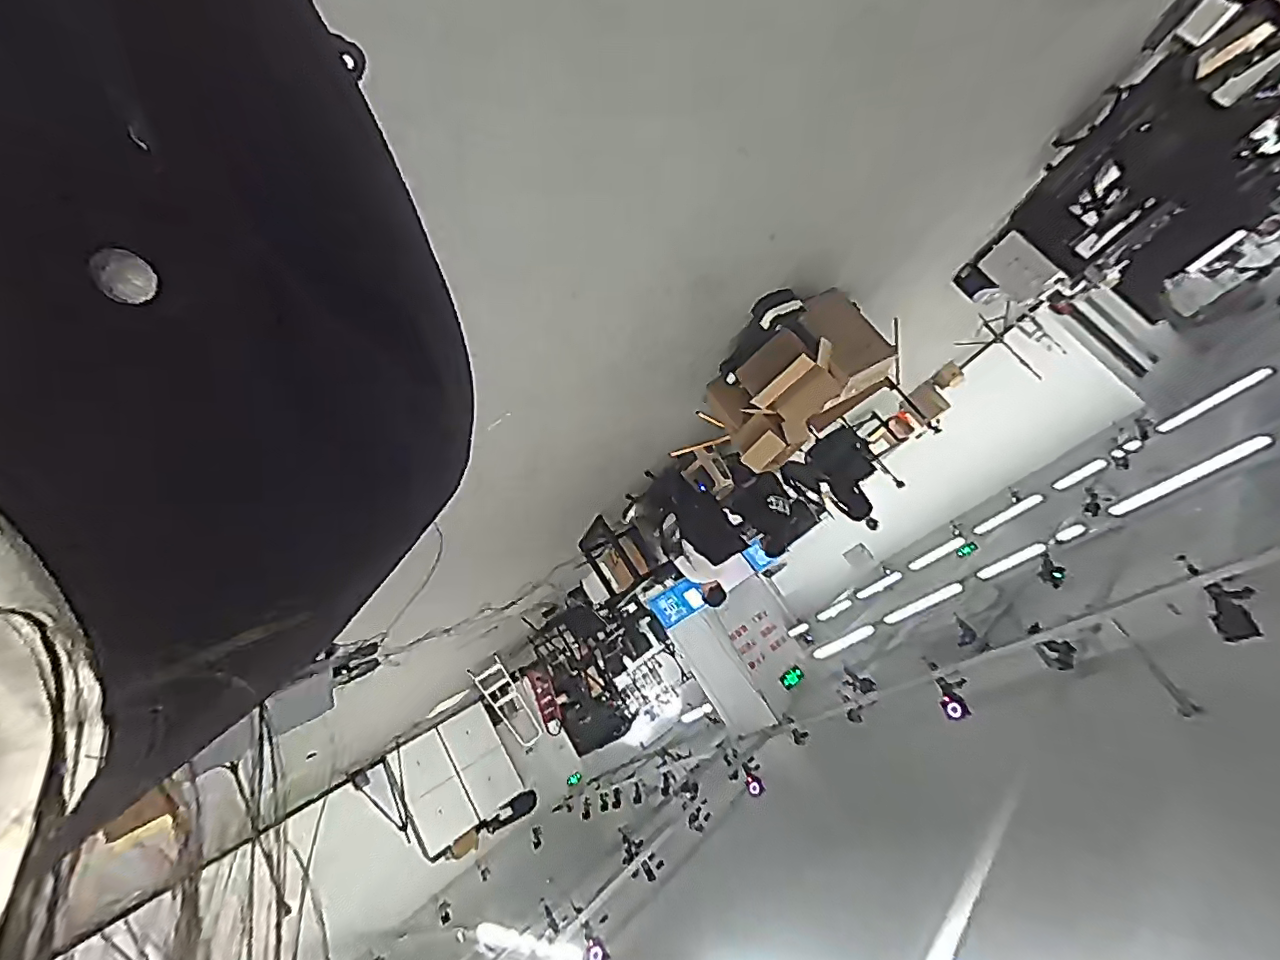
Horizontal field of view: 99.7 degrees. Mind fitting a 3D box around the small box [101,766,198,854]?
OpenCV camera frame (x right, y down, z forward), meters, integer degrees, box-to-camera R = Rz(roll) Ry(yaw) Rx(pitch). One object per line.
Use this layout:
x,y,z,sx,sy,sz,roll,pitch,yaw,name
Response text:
-1.537,1.033,1.700,0.179,0.176,0.168,-21,157,-37,small box
